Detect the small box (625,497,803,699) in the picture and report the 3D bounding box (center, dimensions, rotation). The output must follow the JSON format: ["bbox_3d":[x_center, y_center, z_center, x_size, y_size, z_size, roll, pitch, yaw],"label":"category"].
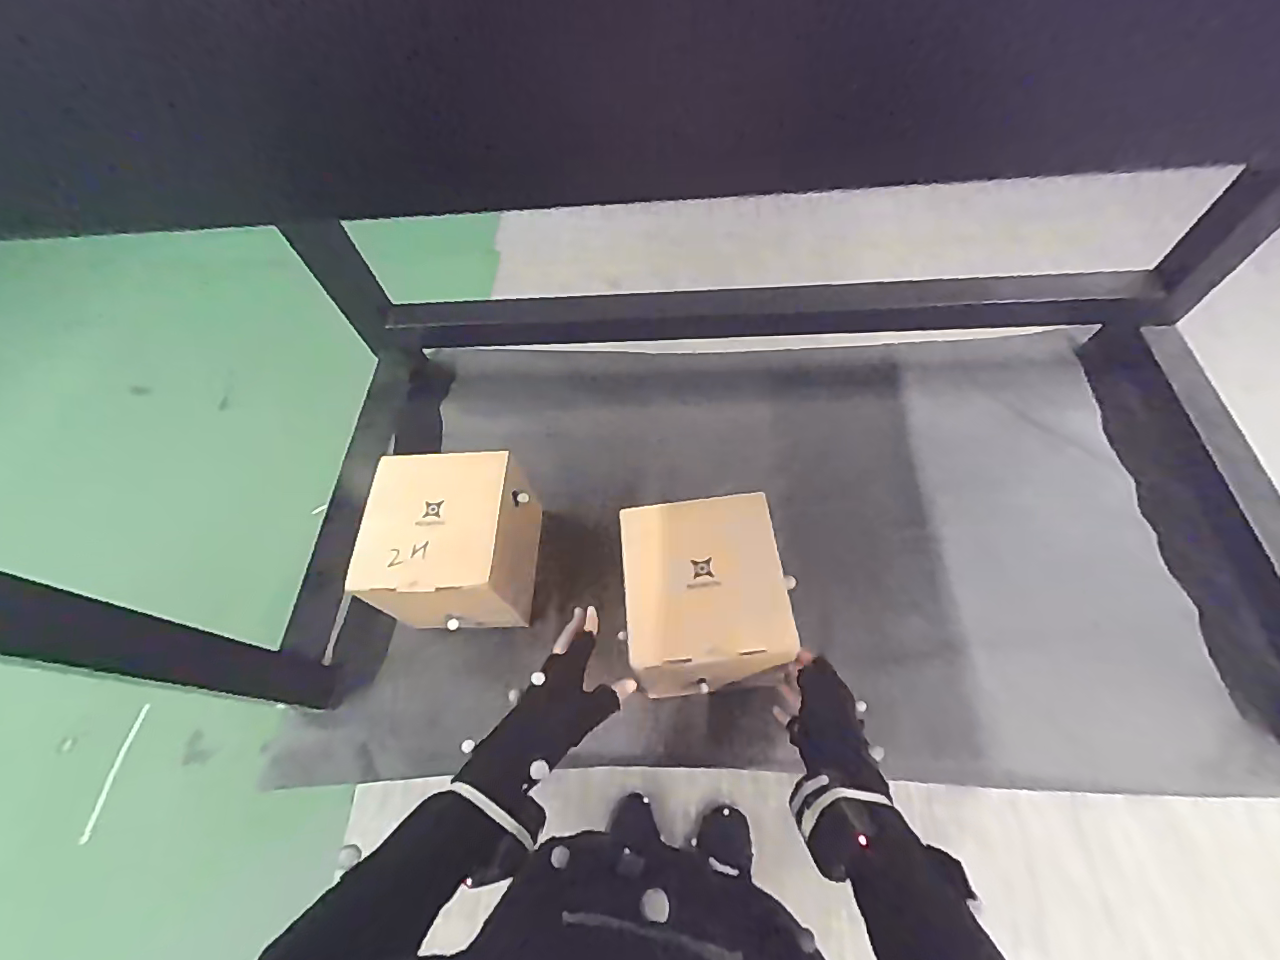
[{"bbox_3d":[0.075,0.142,0.629,0.168,0.176,0.179,-7,59,1],"label":"small box"}]

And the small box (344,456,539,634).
[{"bbox_3d":[-0.234,0.088,0.694,0.168,0.176,0.179,-2,60,5],"label":"small box"}]
